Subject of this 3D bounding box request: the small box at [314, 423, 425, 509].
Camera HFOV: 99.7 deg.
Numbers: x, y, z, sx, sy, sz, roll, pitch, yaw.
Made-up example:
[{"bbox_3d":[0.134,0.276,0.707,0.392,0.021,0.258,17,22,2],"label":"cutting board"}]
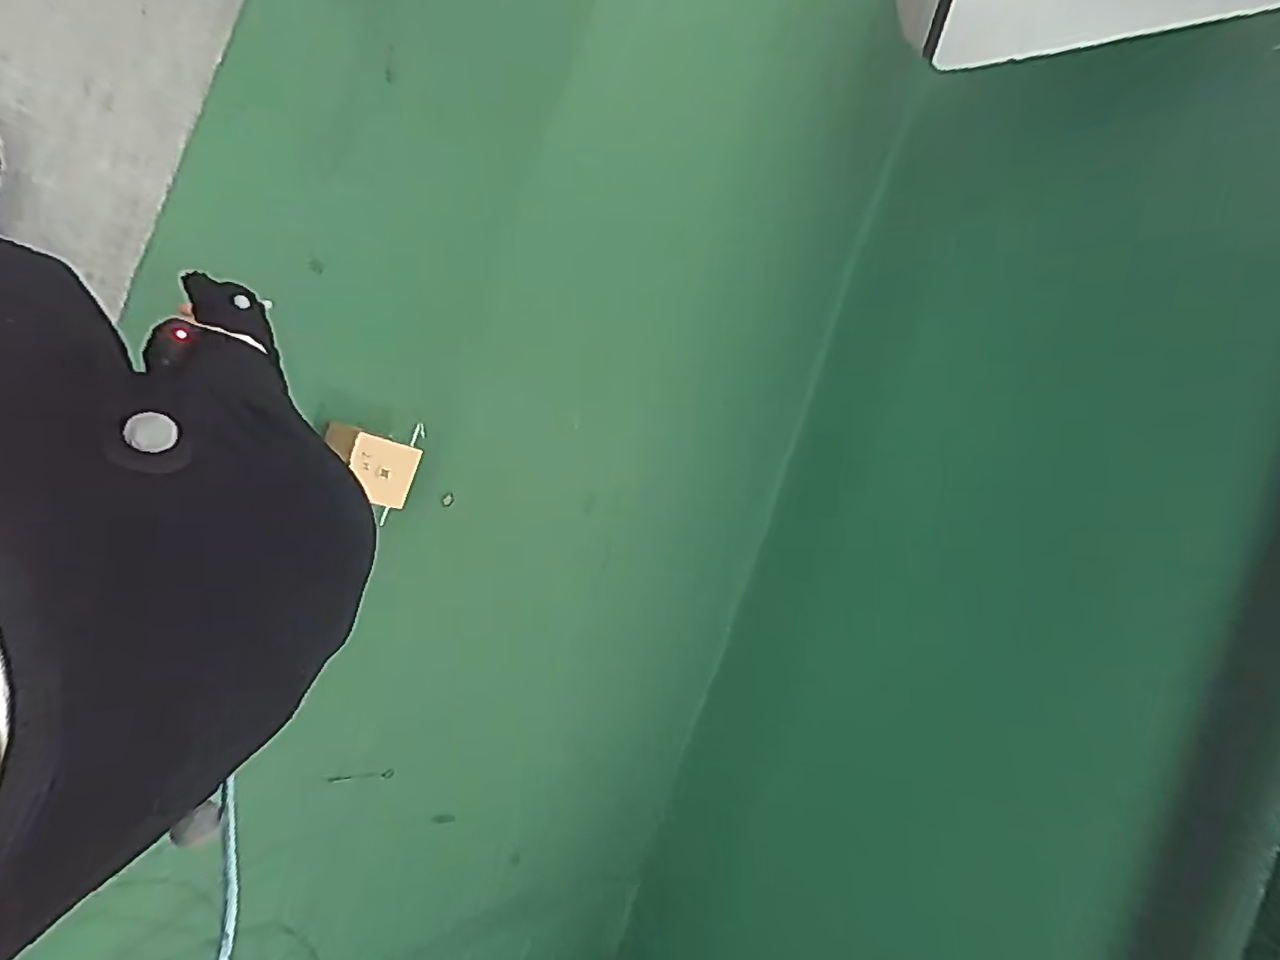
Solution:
[{"bbox_3d":[-0.701,-0.038,1.401,0.179,0.176,0.168,22,87,-52],"label":"small box"}]
